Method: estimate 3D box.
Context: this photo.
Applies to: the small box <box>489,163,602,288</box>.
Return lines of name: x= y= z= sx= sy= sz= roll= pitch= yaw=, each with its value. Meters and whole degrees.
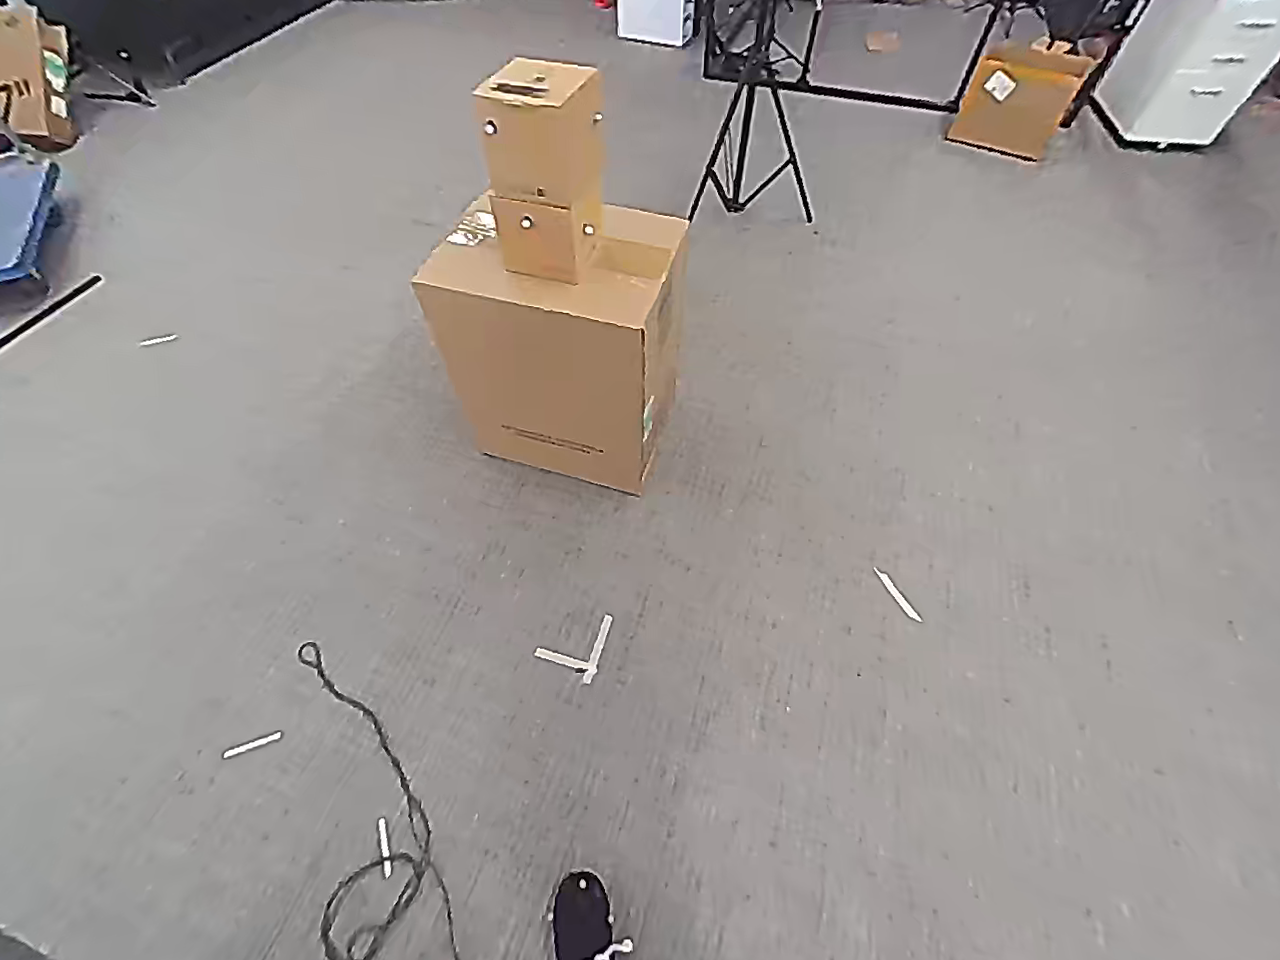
small box: x=-0.187 y=-0.531 z=1.138 sx=0.179 sy=0.176 sz=0.168 roll=14 pitch=57 yaw=10
